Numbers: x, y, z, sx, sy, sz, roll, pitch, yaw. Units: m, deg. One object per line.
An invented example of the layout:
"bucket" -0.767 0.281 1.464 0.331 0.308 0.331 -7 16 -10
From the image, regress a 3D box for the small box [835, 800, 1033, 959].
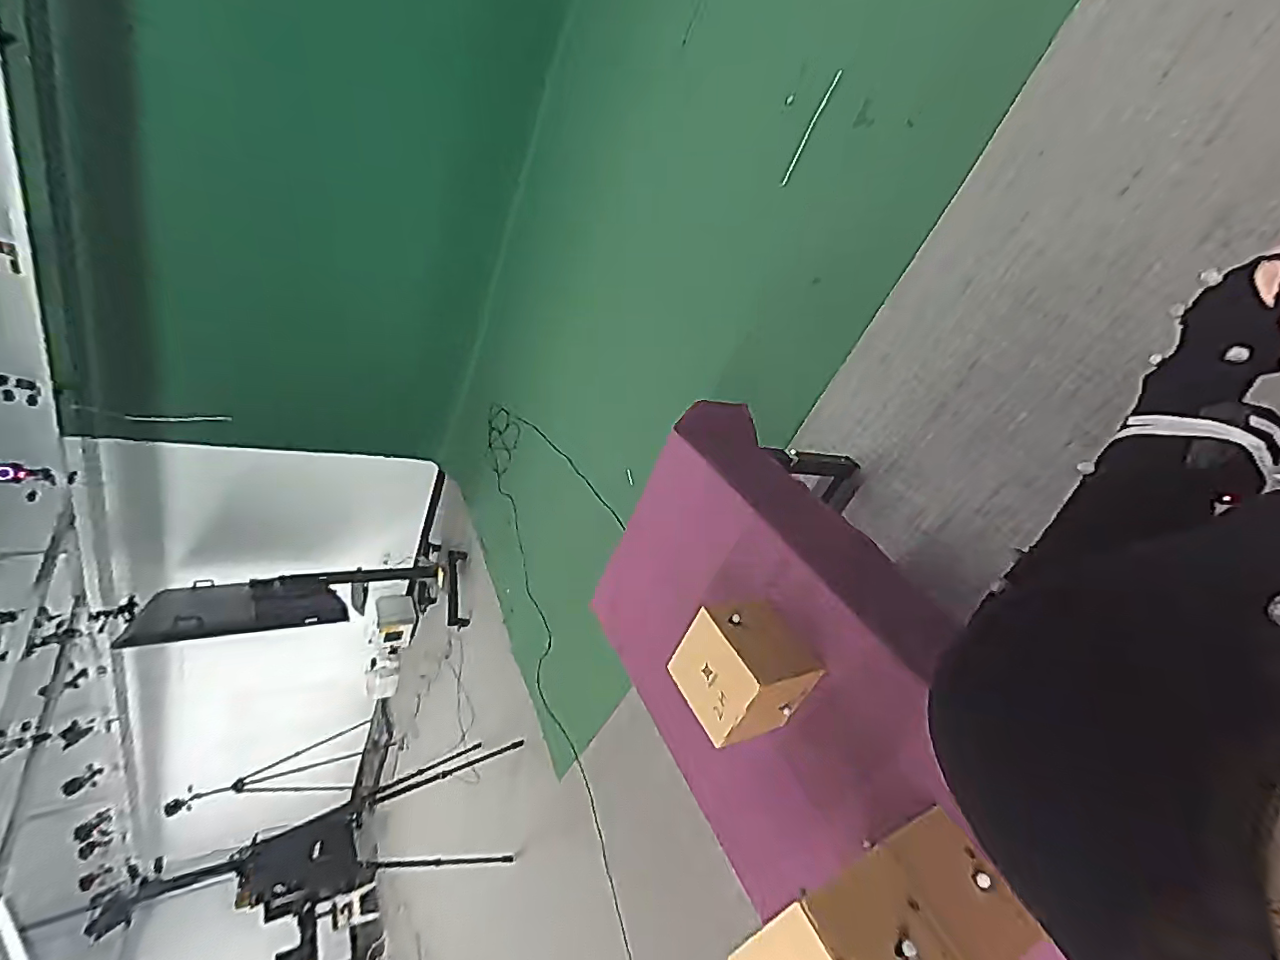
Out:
"small box" 0.374 0.571 0.725 0.168 0.176 0.179 54 128 41

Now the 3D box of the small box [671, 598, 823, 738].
"small box" 0.192 0.332 0.988 0.179 0.176 0.168 51 128 42

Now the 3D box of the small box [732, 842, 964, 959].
"small box" 0.246 0.560 0.623 0.168 0.176 0.179 54 129 41
